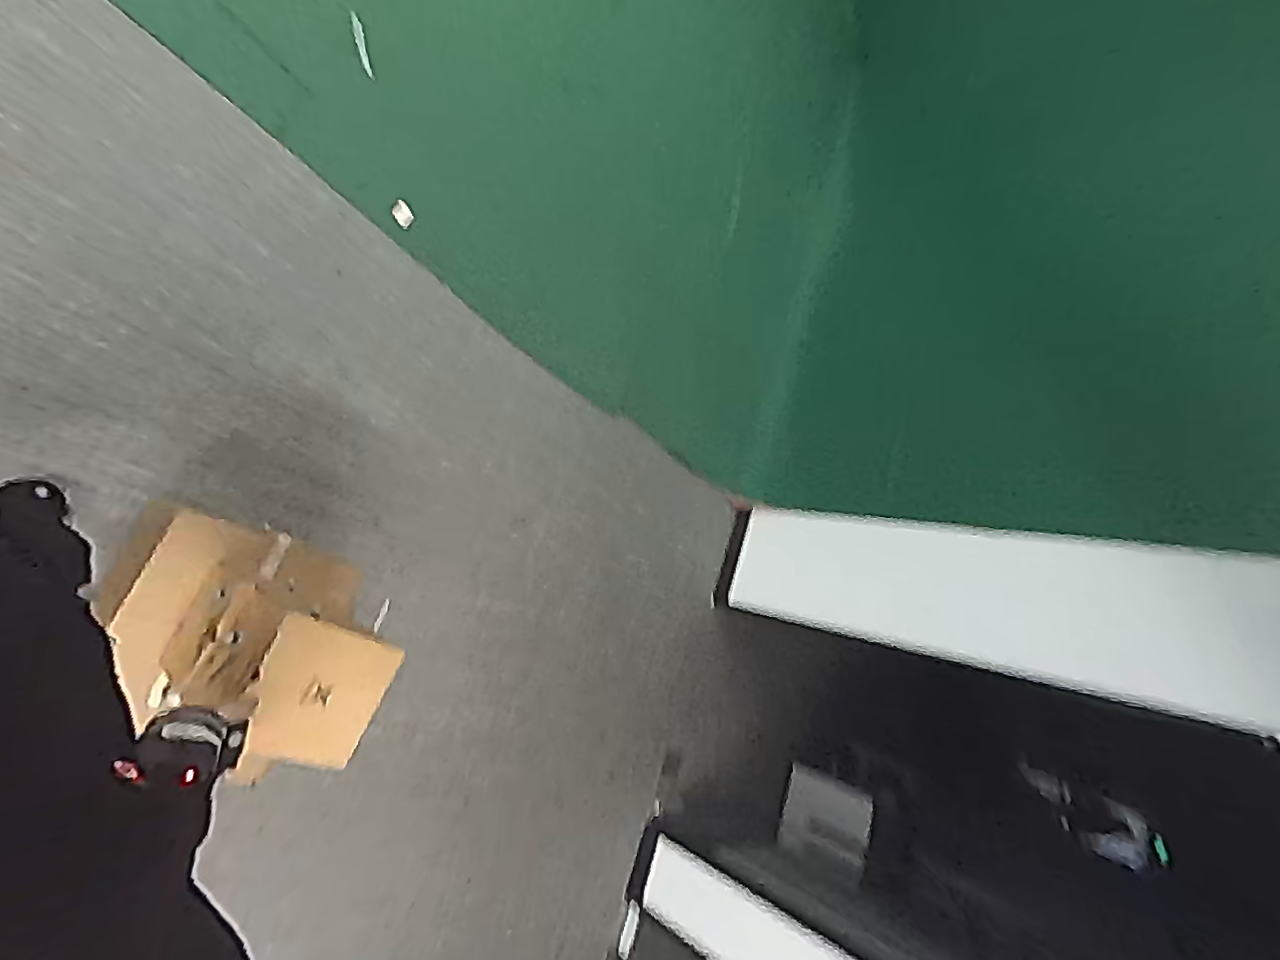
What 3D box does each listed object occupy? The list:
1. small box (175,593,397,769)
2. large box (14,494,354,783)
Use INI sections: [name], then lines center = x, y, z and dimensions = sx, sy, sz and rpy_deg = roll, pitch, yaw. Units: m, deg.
[small box]
center = -0.489, 0.272, 0.752
dimensions = 0.179, 0.176, 0.168
rpy_deg = 44, 62, -42
[large box]
center = -0.818, 0.277, 0.996
dimensions = 0.320, 0.320, 0.408
rpy_deg = 36, 68, -43
